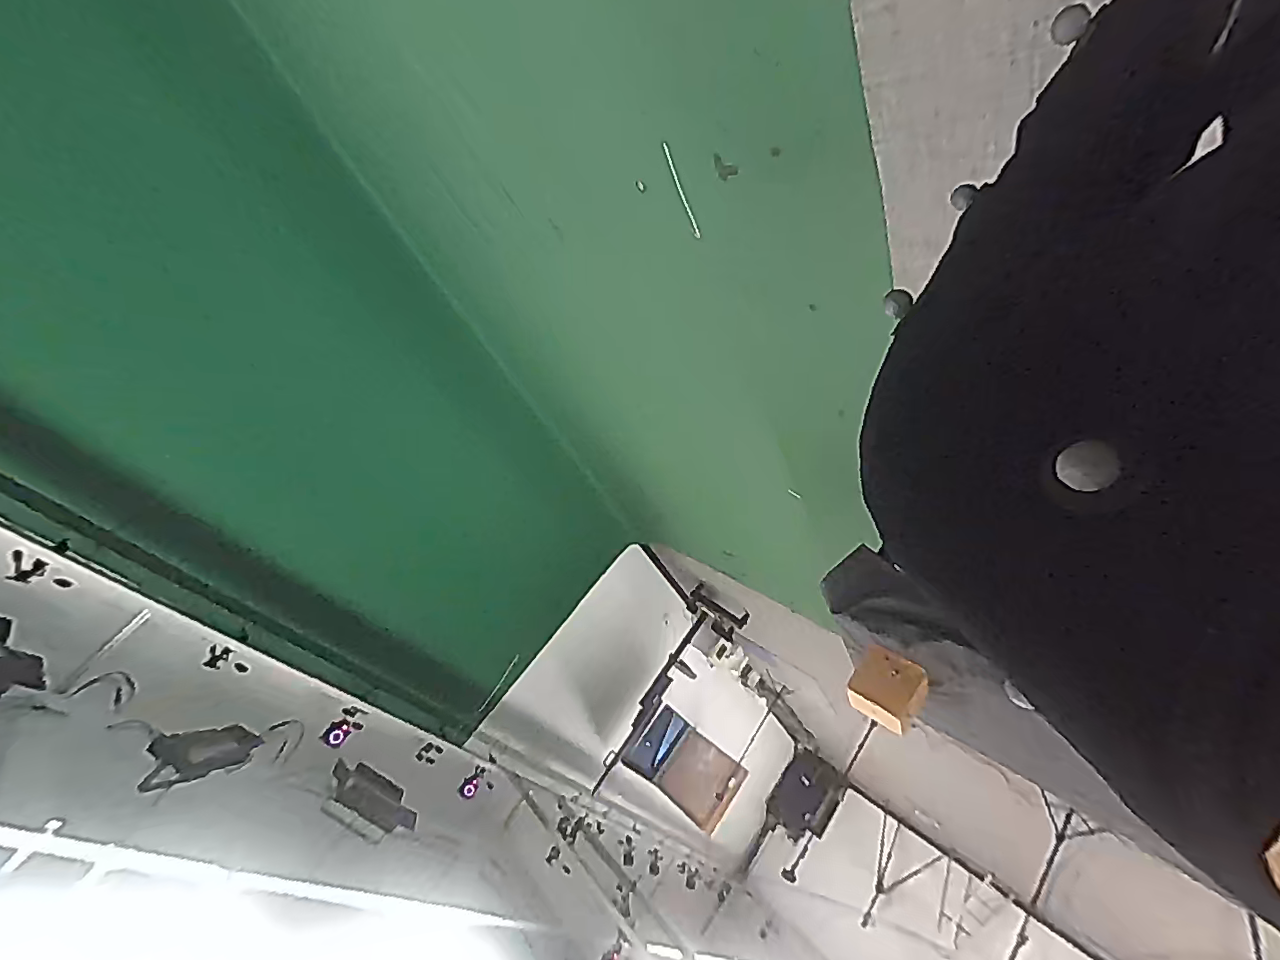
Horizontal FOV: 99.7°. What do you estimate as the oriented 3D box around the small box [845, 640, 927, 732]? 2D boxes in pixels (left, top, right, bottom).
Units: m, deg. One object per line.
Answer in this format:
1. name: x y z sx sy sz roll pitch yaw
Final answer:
1. small box: 0.744 0.617 1.626 0.168 0.176 0.179 24 156 41
